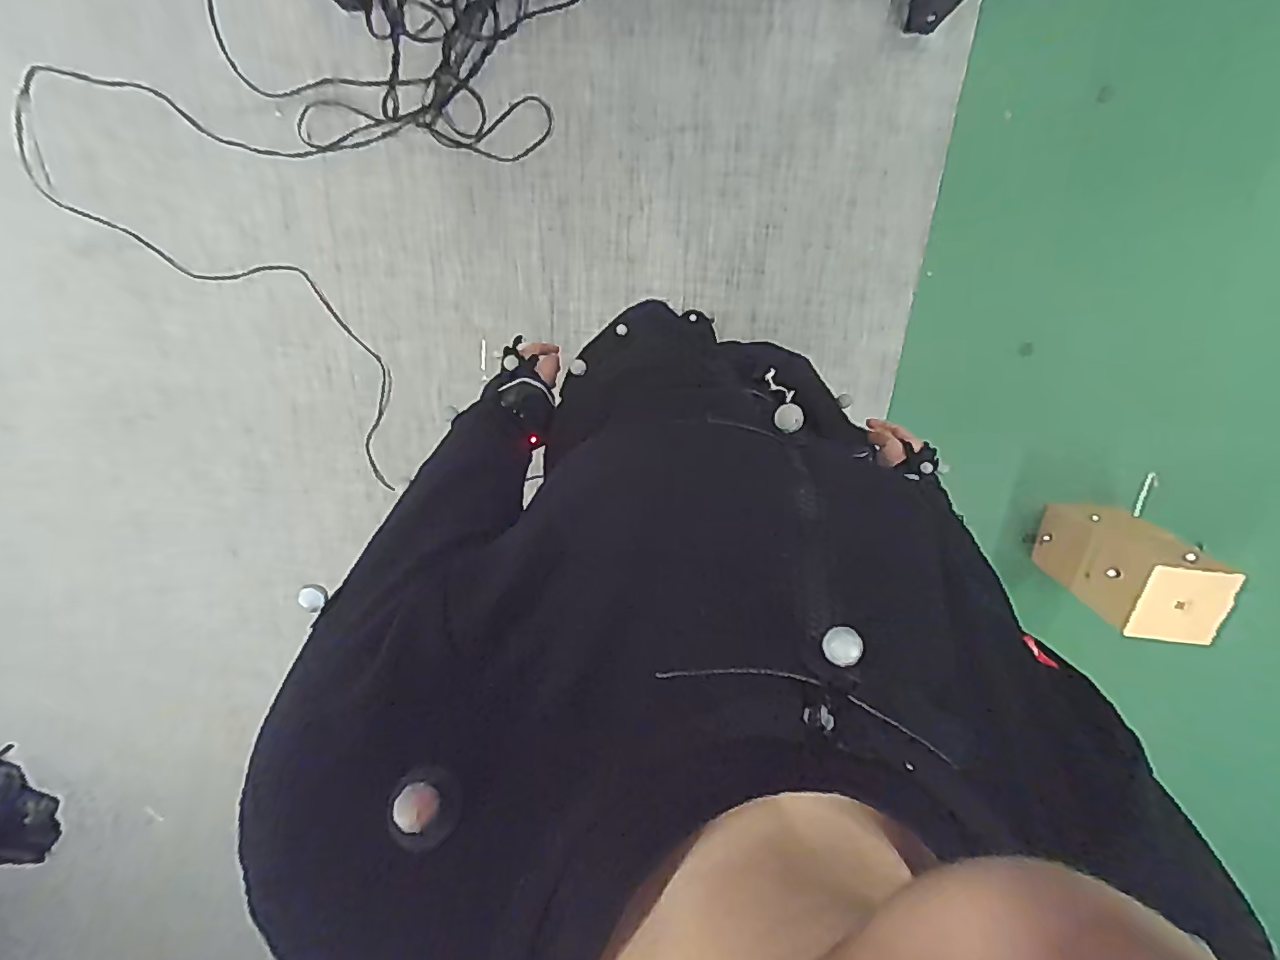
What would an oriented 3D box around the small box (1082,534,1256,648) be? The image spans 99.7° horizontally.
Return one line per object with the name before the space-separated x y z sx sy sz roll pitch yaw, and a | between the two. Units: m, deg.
small box | 1.093 0.226 1.138 0.179 0.176 0.168 6 110 2
